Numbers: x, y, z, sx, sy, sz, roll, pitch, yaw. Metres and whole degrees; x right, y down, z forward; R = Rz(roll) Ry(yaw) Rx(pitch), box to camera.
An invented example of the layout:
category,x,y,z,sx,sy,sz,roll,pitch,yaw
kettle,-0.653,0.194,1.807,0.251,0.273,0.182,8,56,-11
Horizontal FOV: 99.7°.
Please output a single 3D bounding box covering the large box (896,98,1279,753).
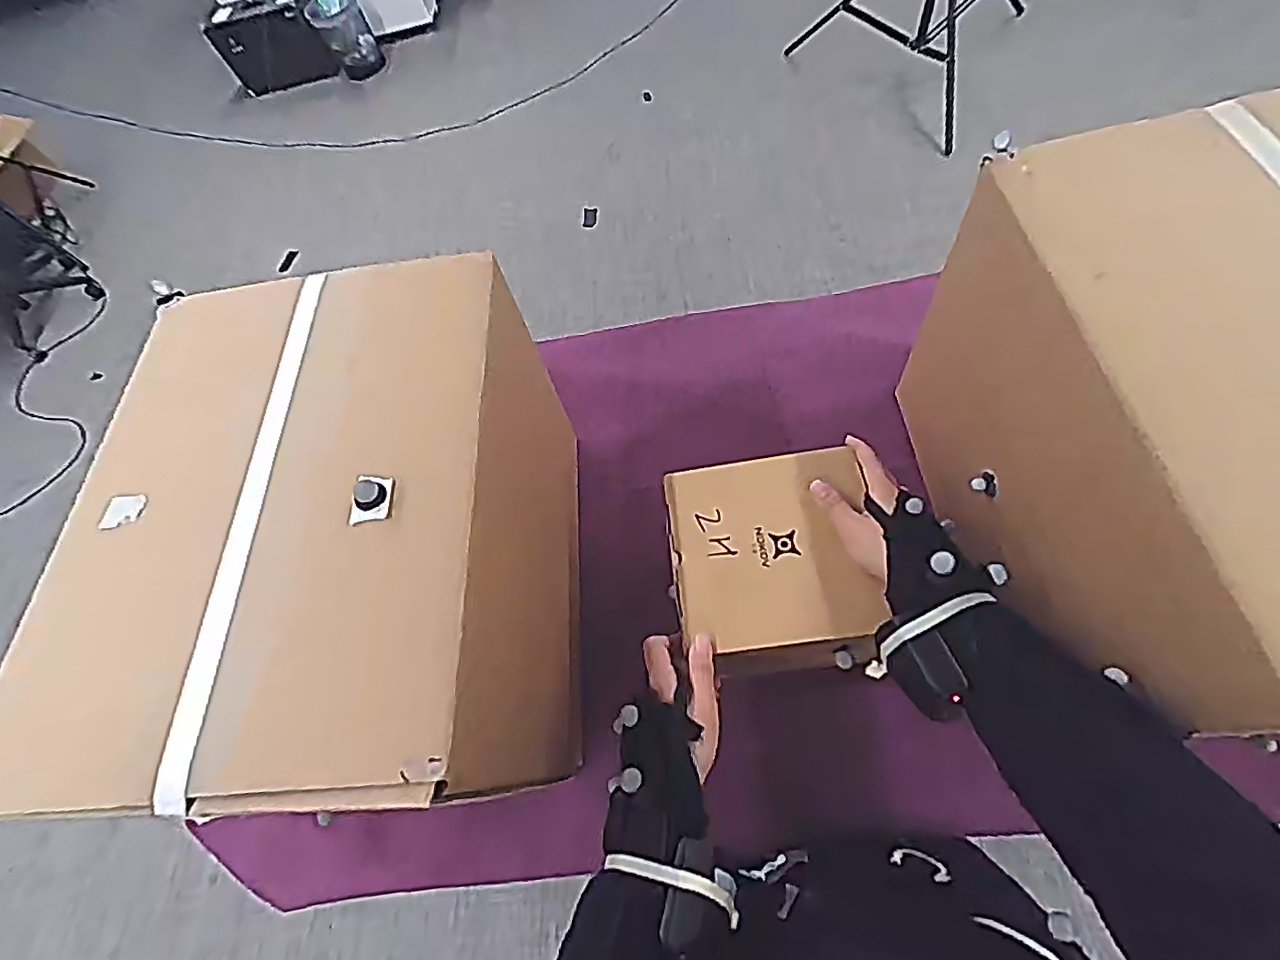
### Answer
category,x,y,z,sx,sy,sz,roll,pitch,yaw
large box,0.448,-0.021,0.432,0.320,0.320,0.408,-8,61,7
